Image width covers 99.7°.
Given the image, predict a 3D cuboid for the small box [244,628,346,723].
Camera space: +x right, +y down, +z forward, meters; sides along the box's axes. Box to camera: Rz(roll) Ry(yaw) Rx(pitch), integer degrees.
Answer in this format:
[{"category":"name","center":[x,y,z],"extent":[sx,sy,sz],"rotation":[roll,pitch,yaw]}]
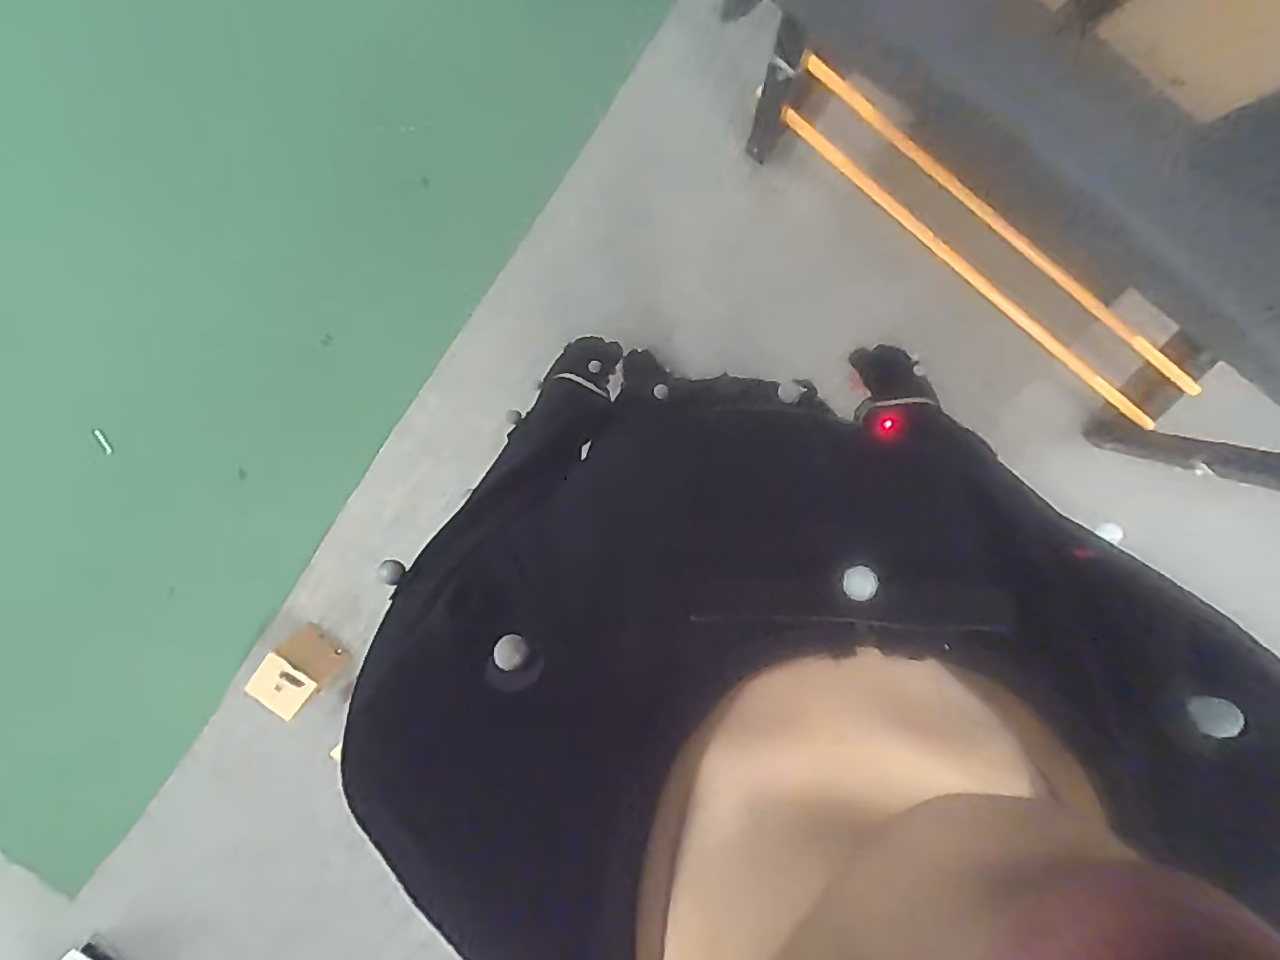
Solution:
[{"category":"small box","center":[-1.032,0.584,1.638],"extent":[0.168,0.176,0.179],"rotation":[40,104,-5]}]
